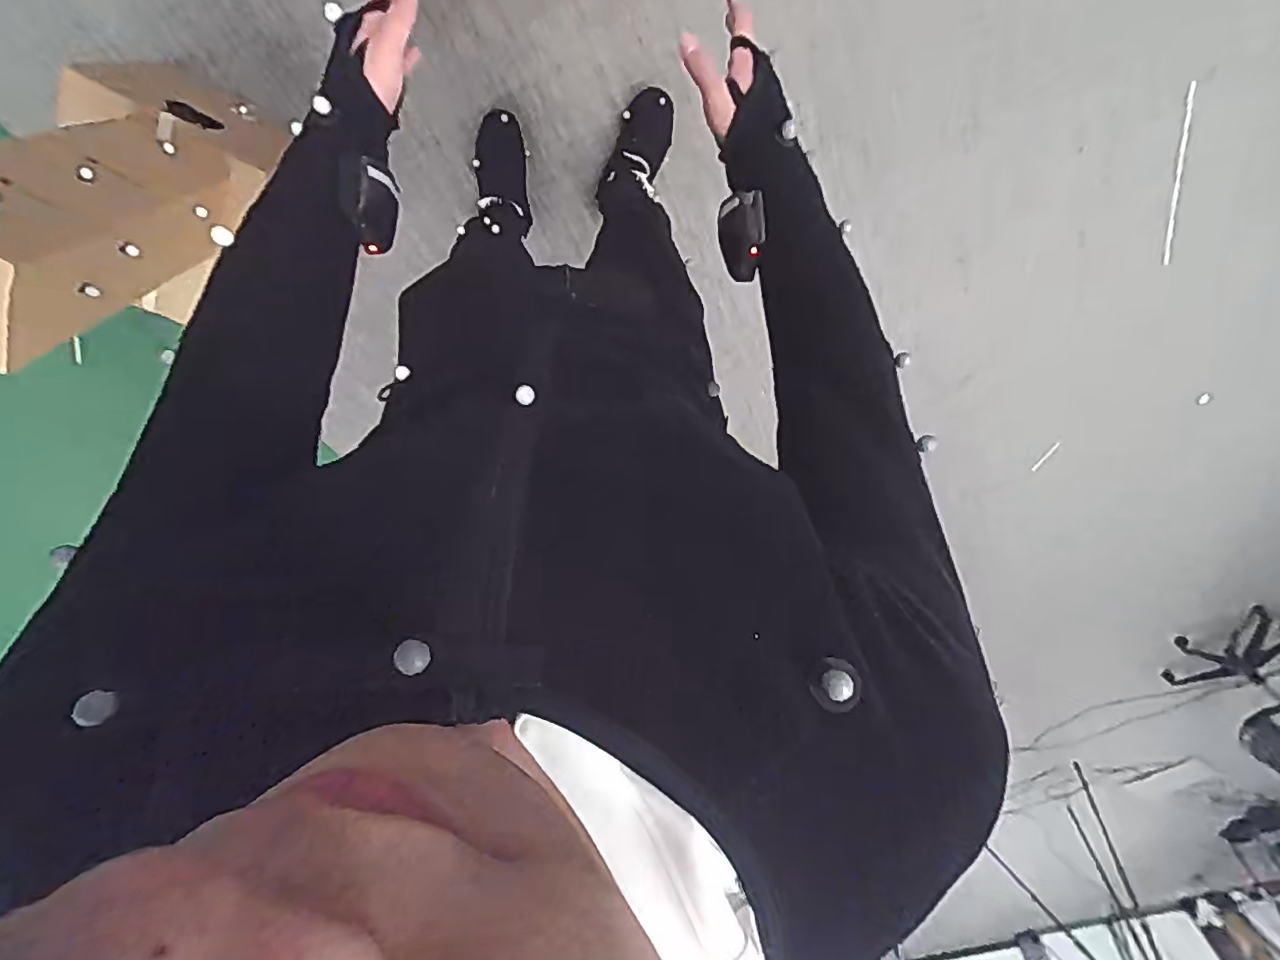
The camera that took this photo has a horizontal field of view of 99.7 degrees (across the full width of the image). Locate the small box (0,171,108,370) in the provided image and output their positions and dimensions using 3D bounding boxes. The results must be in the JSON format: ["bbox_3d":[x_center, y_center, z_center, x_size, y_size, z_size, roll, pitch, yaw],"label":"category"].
[{"bbox_3d":[-0.839,-0.282,0.690,0.168,0.176,0.179,29,120,-25],"label":"small box"}]

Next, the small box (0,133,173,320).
[{"bbox_3d":[-0.856,-0.385,0.816,0.168,0.176,0.179,28,121,-25],"label":"small box"}]
